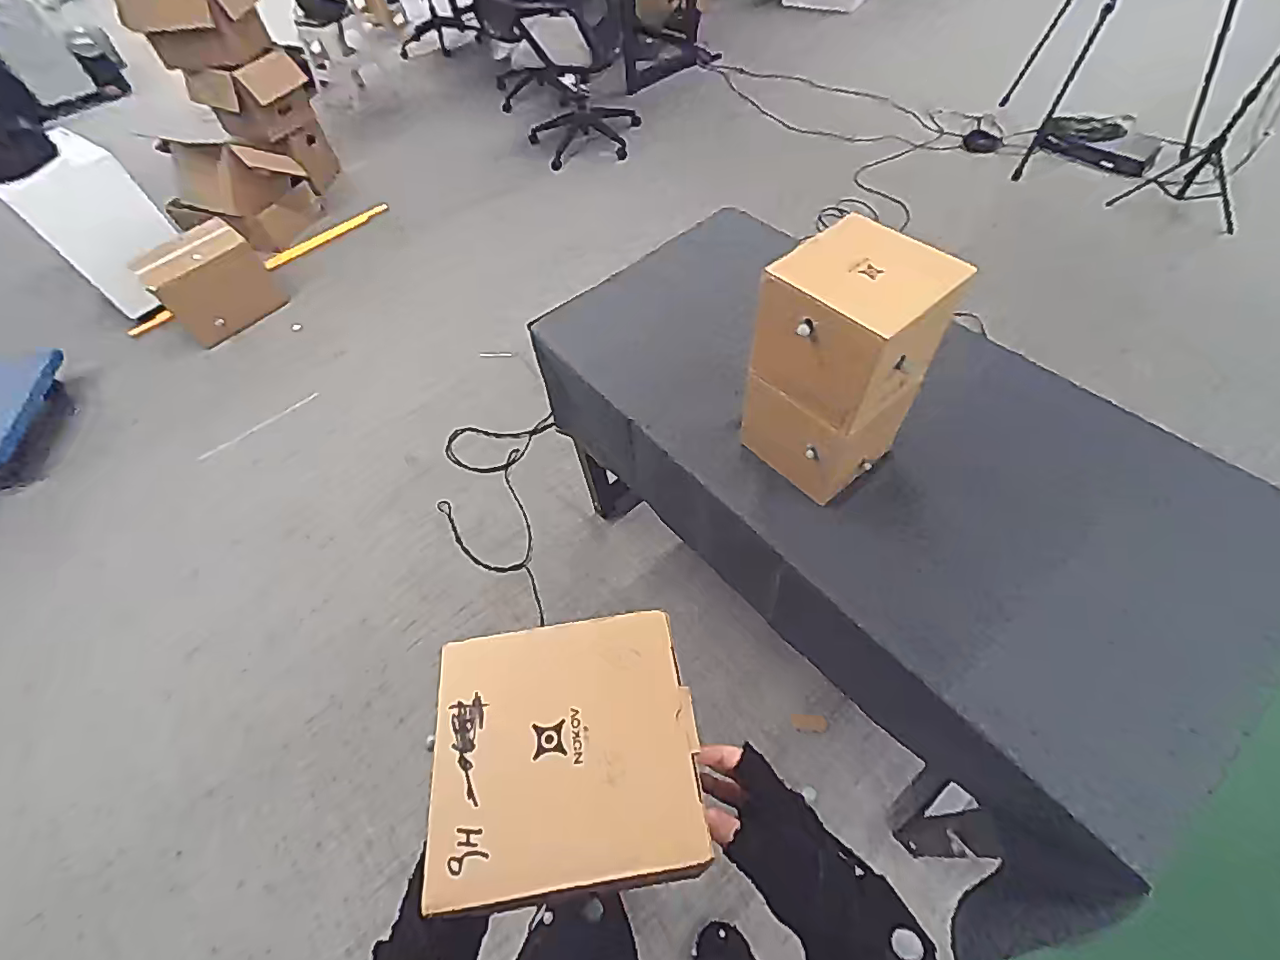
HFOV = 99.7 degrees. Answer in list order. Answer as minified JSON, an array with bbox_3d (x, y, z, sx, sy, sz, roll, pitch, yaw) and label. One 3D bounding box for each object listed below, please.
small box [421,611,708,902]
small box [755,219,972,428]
[{"bbox_3d":[-0.053,0.224,0.435,0.179,0.176,0.168,-6,50,-4],"label":"small box"},{"bbox_3d":[0.269,-0.192,0.694,0.168,0.176,0.179,-36,60,-18],"label":"small box"}]
